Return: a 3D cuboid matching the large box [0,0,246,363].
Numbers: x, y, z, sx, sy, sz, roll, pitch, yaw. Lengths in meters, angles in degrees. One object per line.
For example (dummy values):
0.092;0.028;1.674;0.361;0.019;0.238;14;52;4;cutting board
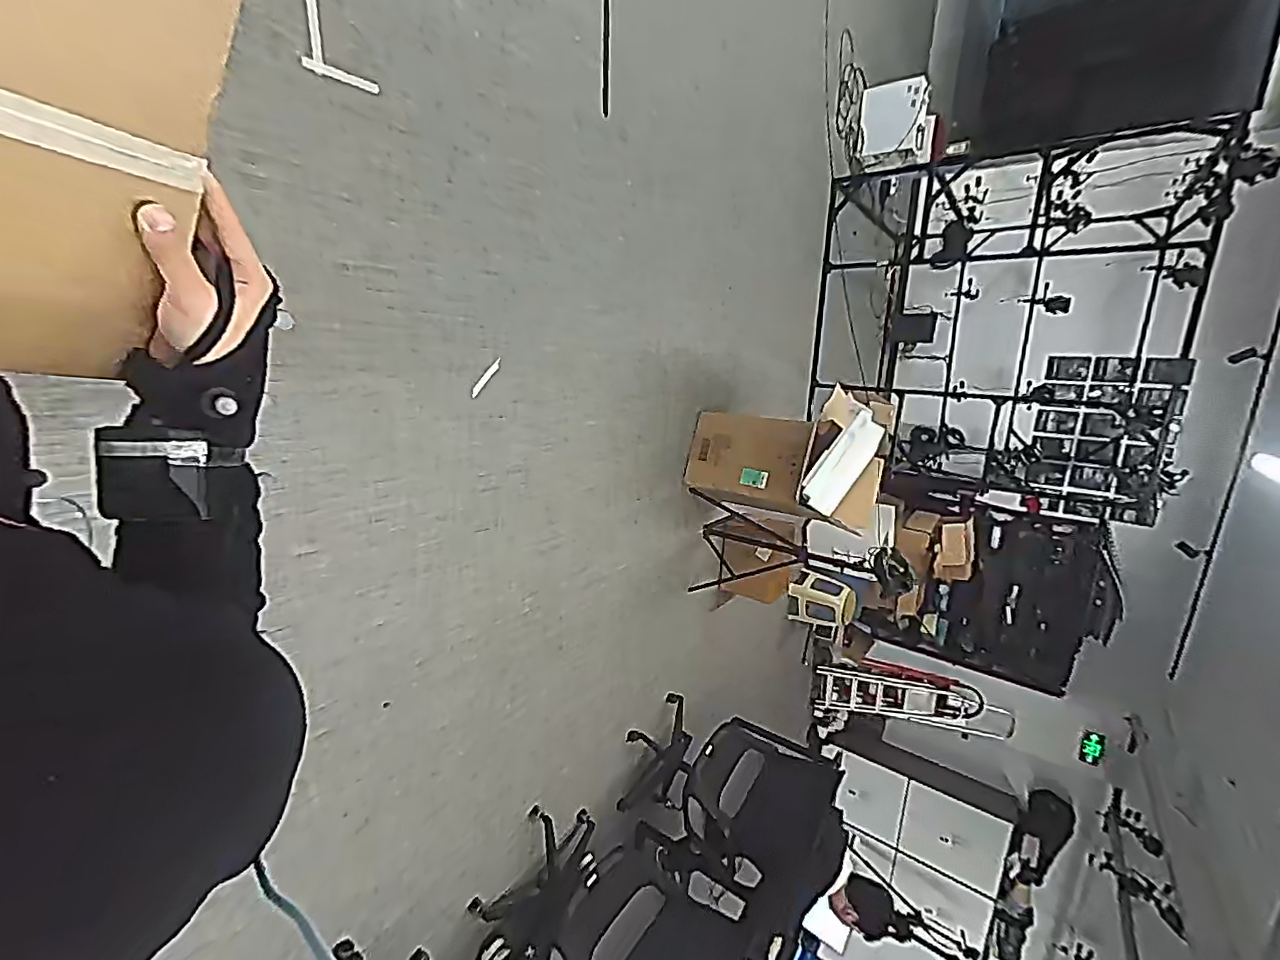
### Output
-0.462;-0.281;0.214;0.320;0.320;0.408;-51;157;26;large box
